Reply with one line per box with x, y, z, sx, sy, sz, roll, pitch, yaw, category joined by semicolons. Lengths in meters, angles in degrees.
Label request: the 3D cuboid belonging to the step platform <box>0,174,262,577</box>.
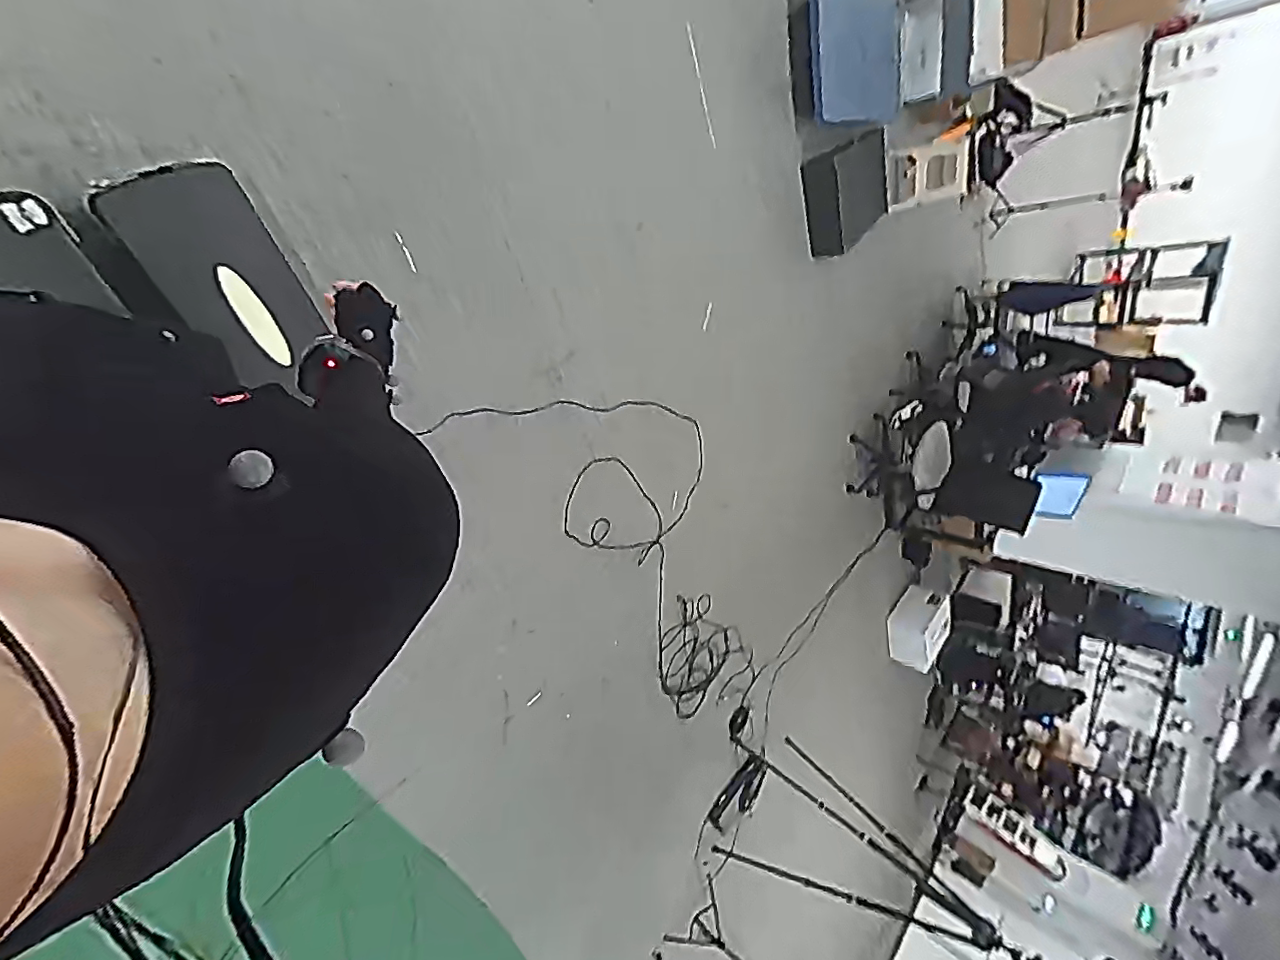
-1.032;-0.162;0.964;0.286;0.204;0.684;-41;127;-31;step platform
